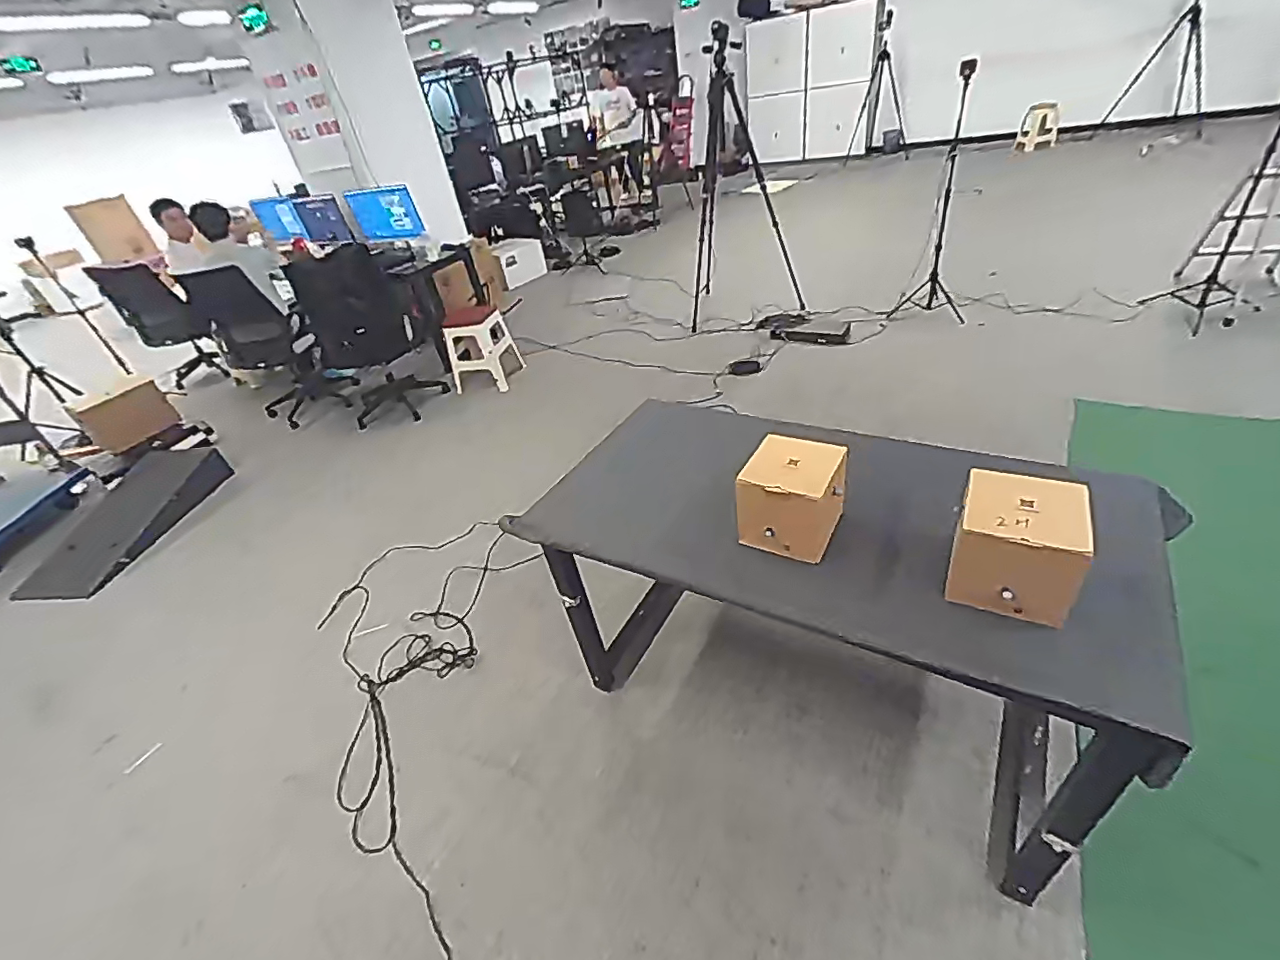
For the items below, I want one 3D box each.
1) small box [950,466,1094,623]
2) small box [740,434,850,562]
[{"bbox_3d":[0.631,0.103,0.906,0.168,0.176,0.179,11,42,30],"label":"small box"},{"bbox_3d":[0.313,0.033,1.098,0.168,0.176,0.179,14,43,30],"label":"small box"}]
